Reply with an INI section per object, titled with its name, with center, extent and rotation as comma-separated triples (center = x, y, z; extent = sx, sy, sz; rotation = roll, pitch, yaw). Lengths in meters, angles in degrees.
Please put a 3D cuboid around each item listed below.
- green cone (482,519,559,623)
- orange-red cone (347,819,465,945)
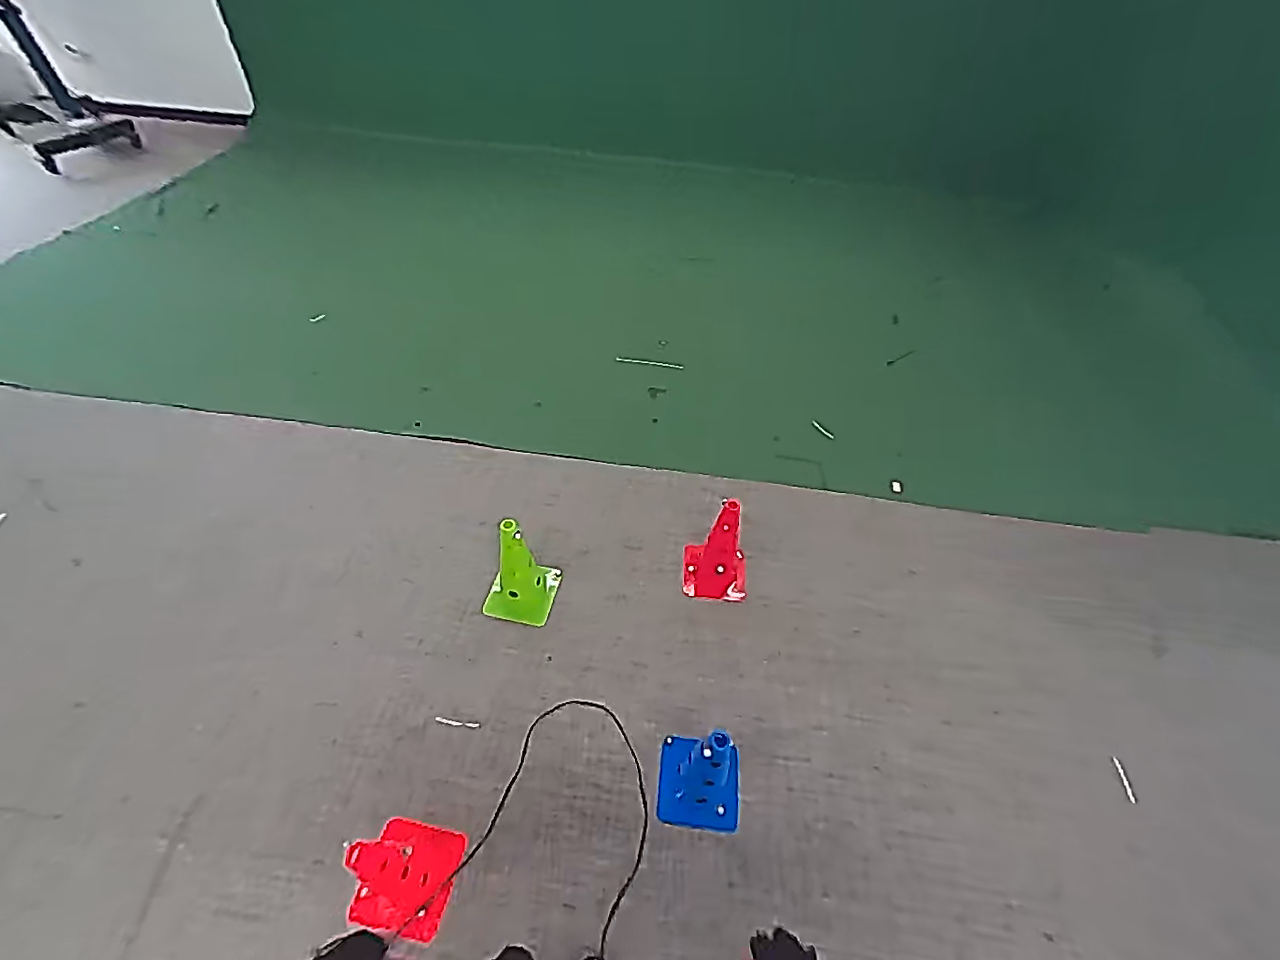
[green cone]
center = -0.361, 0.230, 1.548
extent = 0.200, 0.368, 0.202
rotation = 9, 50, 5
[orange-red cone]
center = -0.502, 0.766, 1.070
extent = 0.198, 0.360, 0.199
rotation = 12, 47, 6
